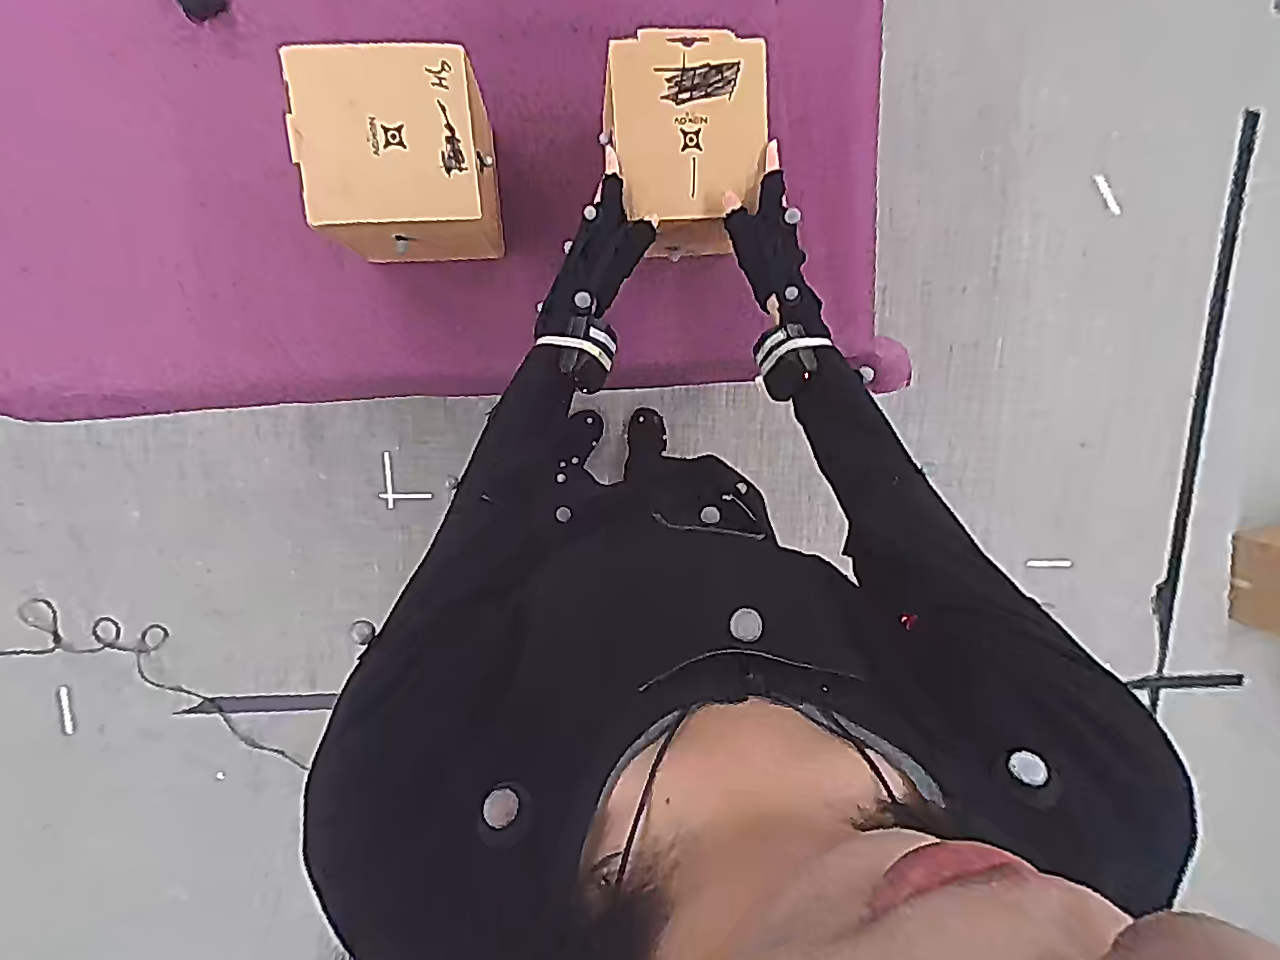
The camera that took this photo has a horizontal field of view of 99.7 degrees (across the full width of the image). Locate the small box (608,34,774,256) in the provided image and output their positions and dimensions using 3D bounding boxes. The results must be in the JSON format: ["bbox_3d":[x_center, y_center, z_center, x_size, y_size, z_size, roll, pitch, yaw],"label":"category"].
[{"bbox_3d":[0.051,-0.381,0.644,0.168,0.176,0.179,-5,100,-5],"label":"small box"}]

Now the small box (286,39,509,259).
[{"bbox_3d":[-0.257,-0.358,0.617,0.179,0.176,0.168,-5,99,-4],"label":"small box"}]
